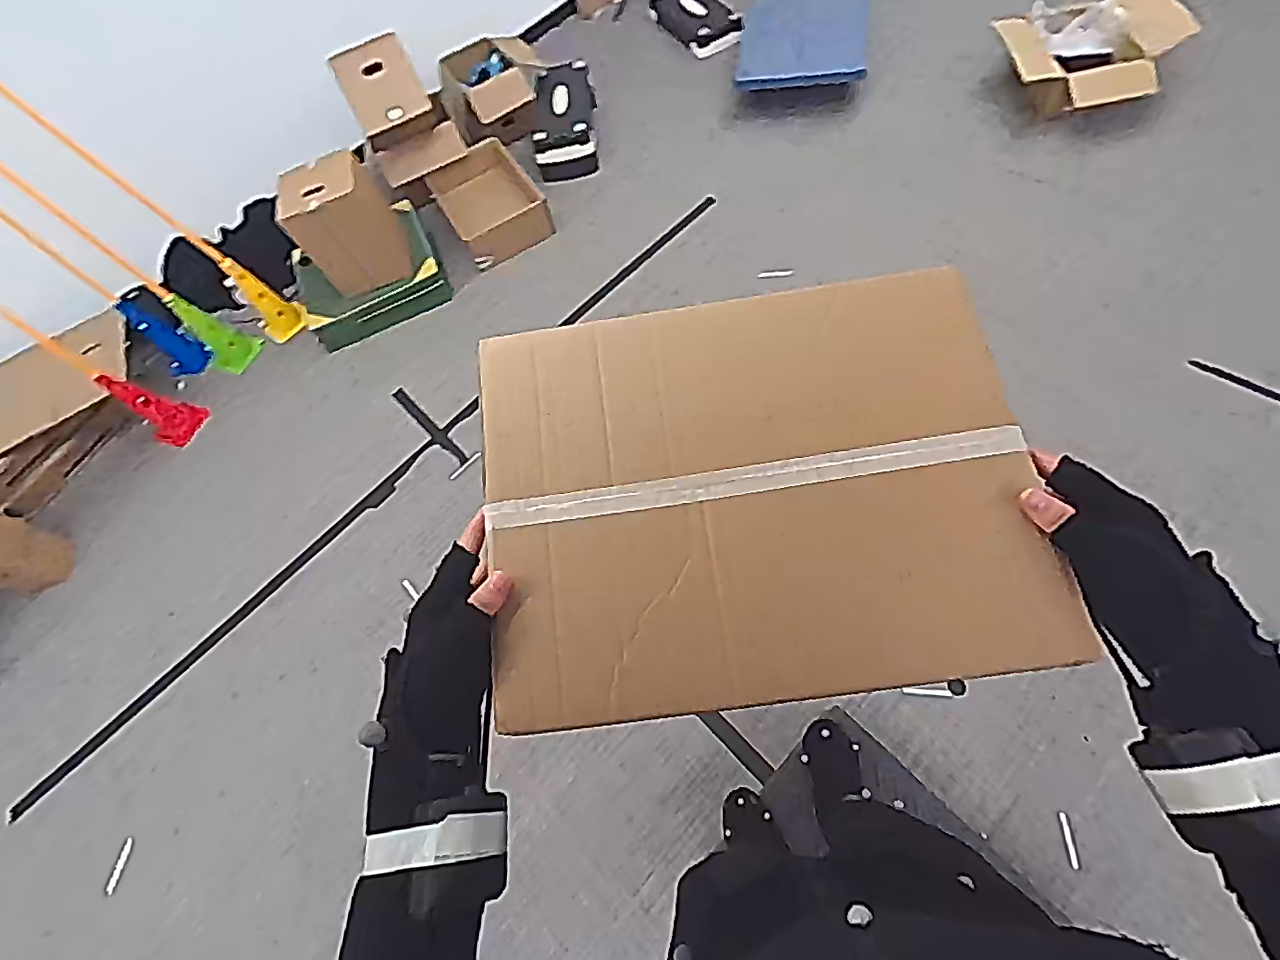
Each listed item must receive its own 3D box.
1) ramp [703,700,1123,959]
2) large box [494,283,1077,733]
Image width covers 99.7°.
[{"bbox_3d":[0.658,1.004,1.115,0.991,0.206,0.509,37,75,25],"label":"ramp"},{"bbox_3d":[0.101,0.048,0.562,0.408,0.320,0.320,-8,72,3],"label":"large box"}]
